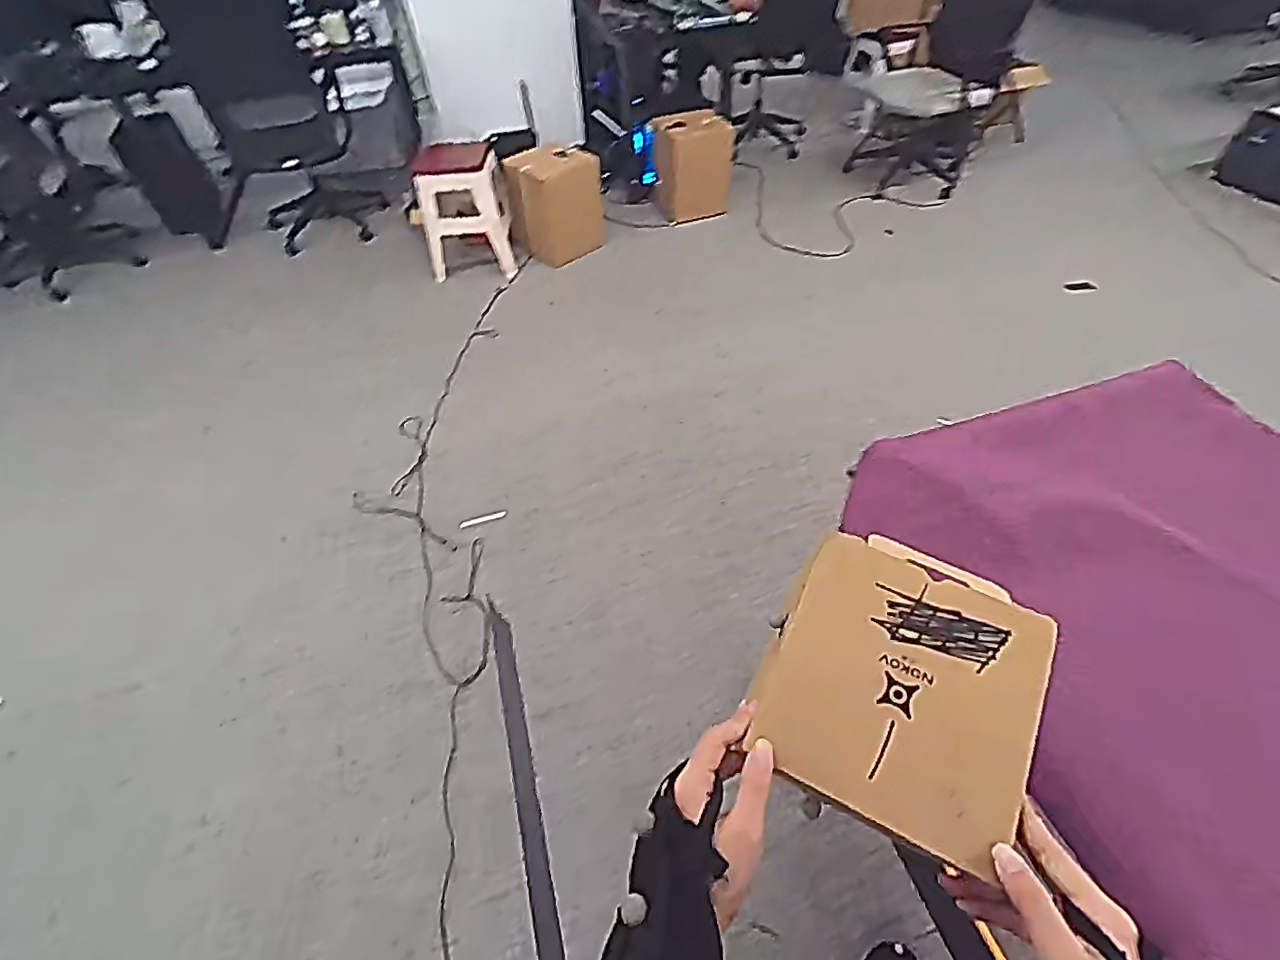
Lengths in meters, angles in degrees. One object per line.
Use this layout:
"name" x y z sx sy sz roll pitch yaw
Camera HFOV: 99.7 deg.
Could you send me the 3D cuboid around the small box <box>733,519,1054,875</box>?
"small box" 0.183 0.164 0.436 0.168 0.176 0.179 23 69 16
